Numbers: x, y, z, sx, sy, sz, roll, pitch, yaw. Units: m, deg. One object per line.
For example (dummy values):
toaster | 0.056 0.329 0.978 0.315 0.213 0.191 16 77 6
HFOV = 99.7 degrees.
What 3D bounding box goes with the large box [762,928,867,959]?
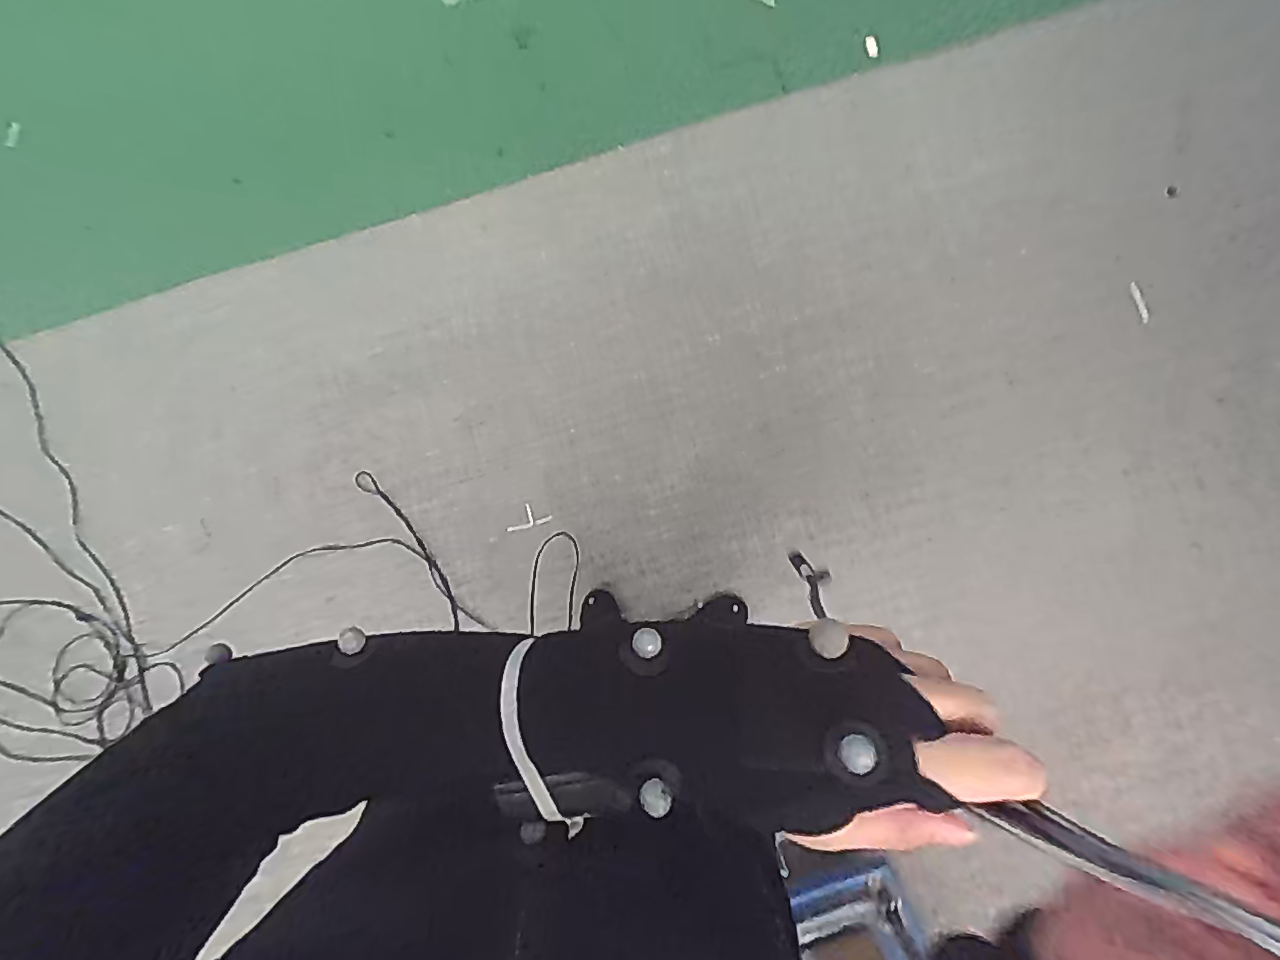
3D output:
large box | 0.385 1.191 1.010 0.320 0.320 0.408 -20 84 1
